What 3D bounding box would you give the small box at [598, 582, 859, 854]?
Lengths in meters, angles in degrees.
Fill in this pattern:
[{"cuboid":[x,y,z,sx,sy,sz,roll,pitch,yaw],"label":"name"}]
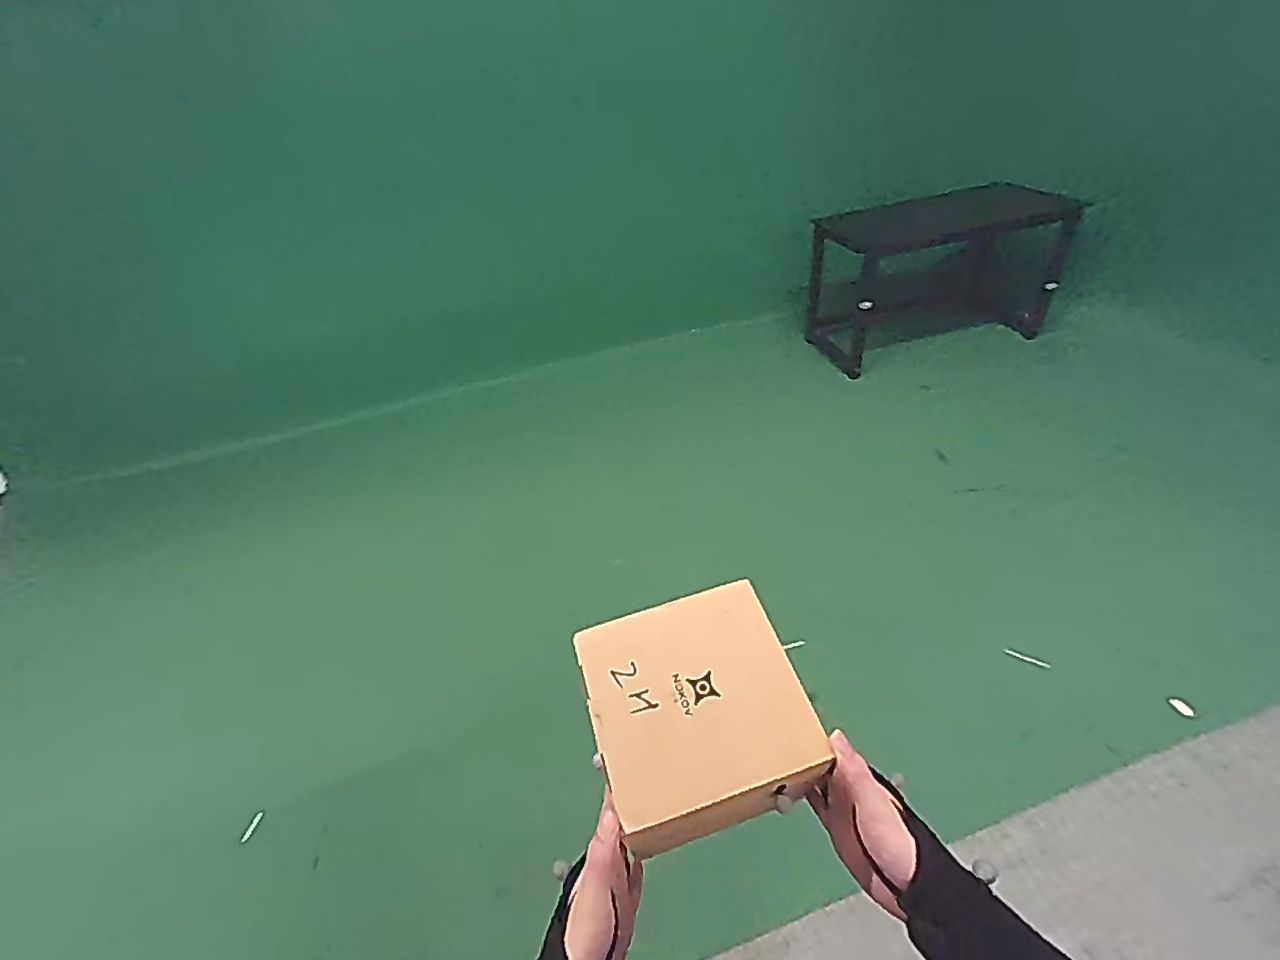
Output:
[{"cuboid":[0.069,0.226,0.511,0.179,0.176,0.168,-15,50,-7],"label":"small box"}]
